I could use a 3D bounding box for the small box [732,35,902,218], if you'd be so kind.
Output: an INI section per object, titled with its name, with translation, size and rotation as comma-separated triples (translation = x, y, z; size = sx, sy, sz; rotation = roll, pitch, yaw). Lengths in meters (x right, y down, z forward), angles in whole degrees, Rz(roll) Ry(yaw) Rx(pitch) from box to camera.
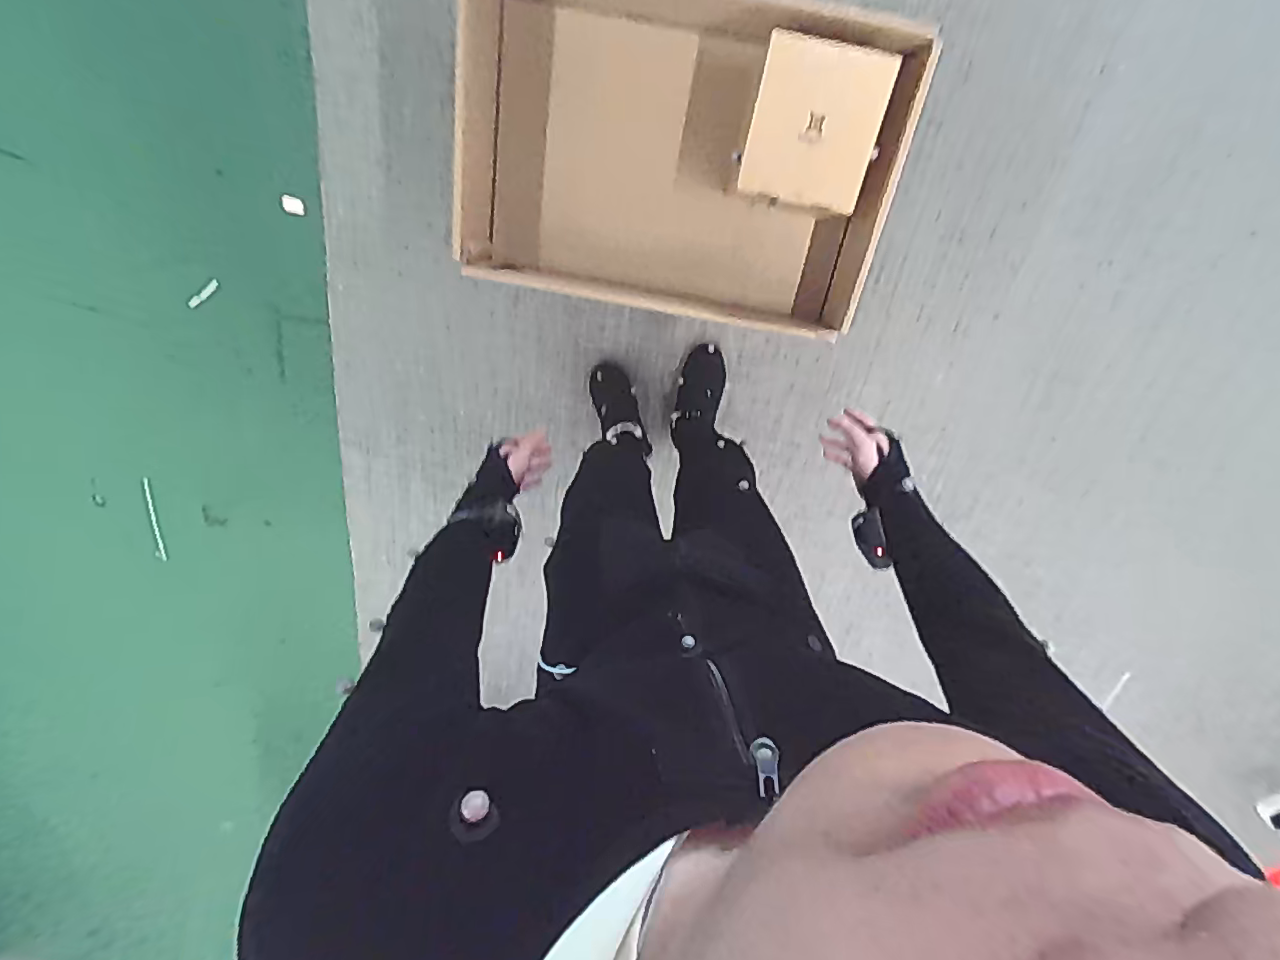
[small box]
translation = 0.234, -0.486, 0.772
size = 0.168, 0.176, 0.179
rotation = 11, 116, -1
